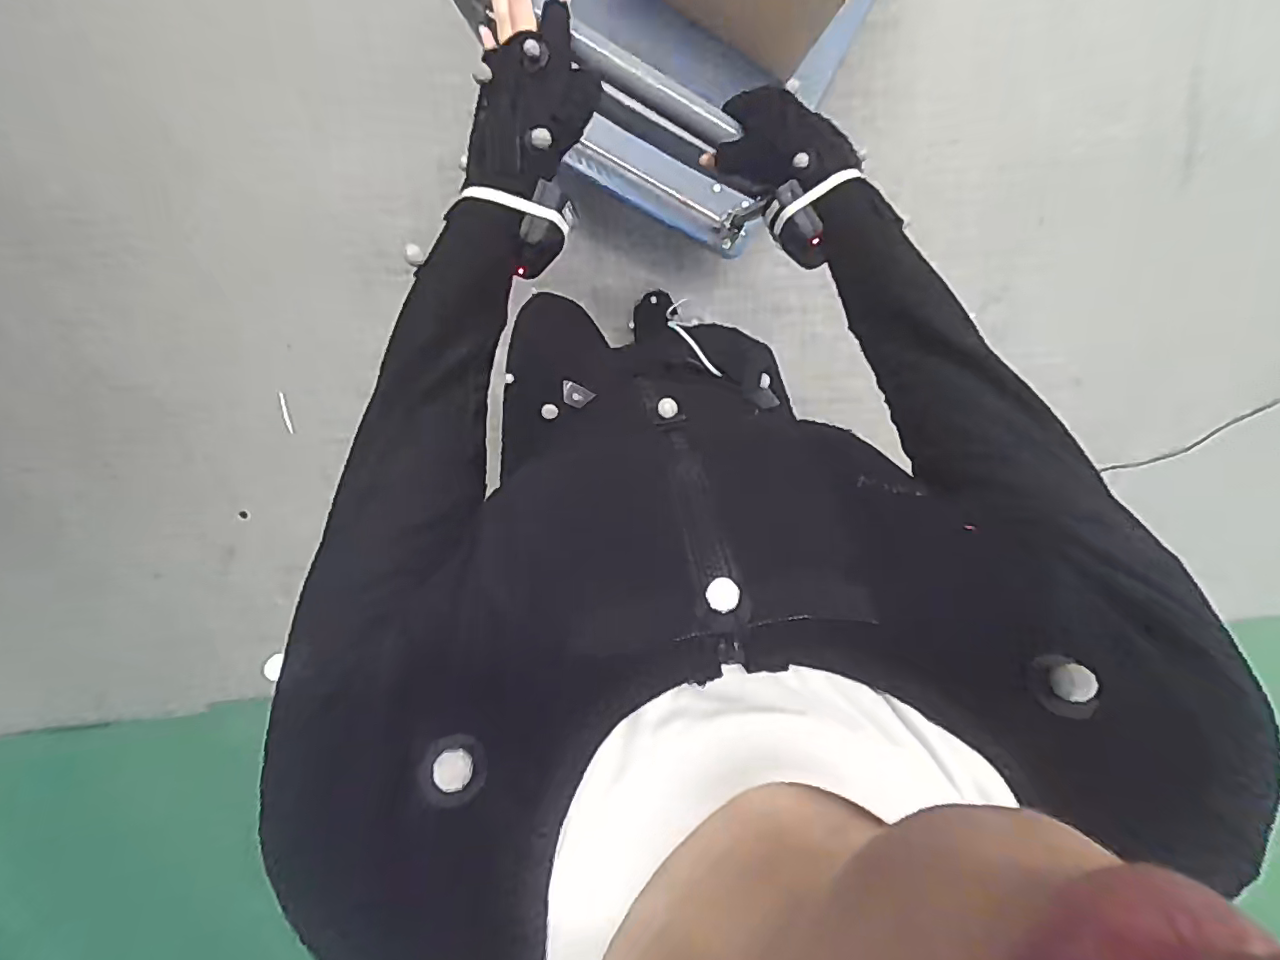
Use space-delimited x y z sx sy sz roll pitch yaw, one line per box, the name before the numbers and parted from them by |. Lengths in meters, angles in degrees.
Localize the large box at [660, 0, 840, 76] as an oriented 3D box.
large box | 0.187 -0.967 0.869 0.408 0.320 0.320 26 104 -8
